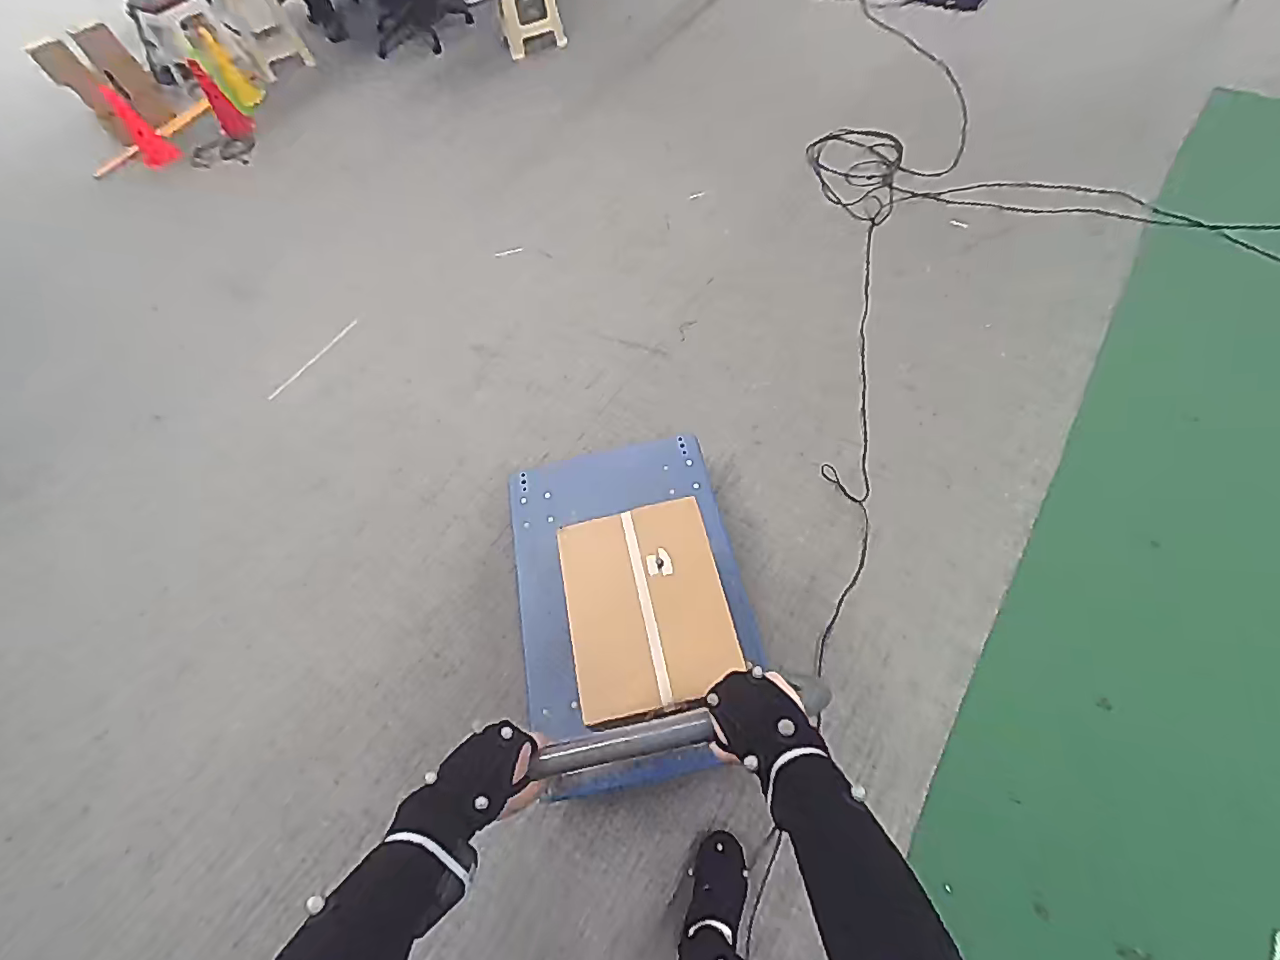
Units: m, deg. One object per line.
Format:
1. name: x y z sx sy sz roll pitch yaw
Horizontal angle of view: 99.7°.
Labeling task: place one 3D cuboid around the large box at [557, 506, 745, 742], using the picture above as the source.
1. large box: 0.024 0.332 1.223 0.320 0.320 0.408 -13 59 -1
